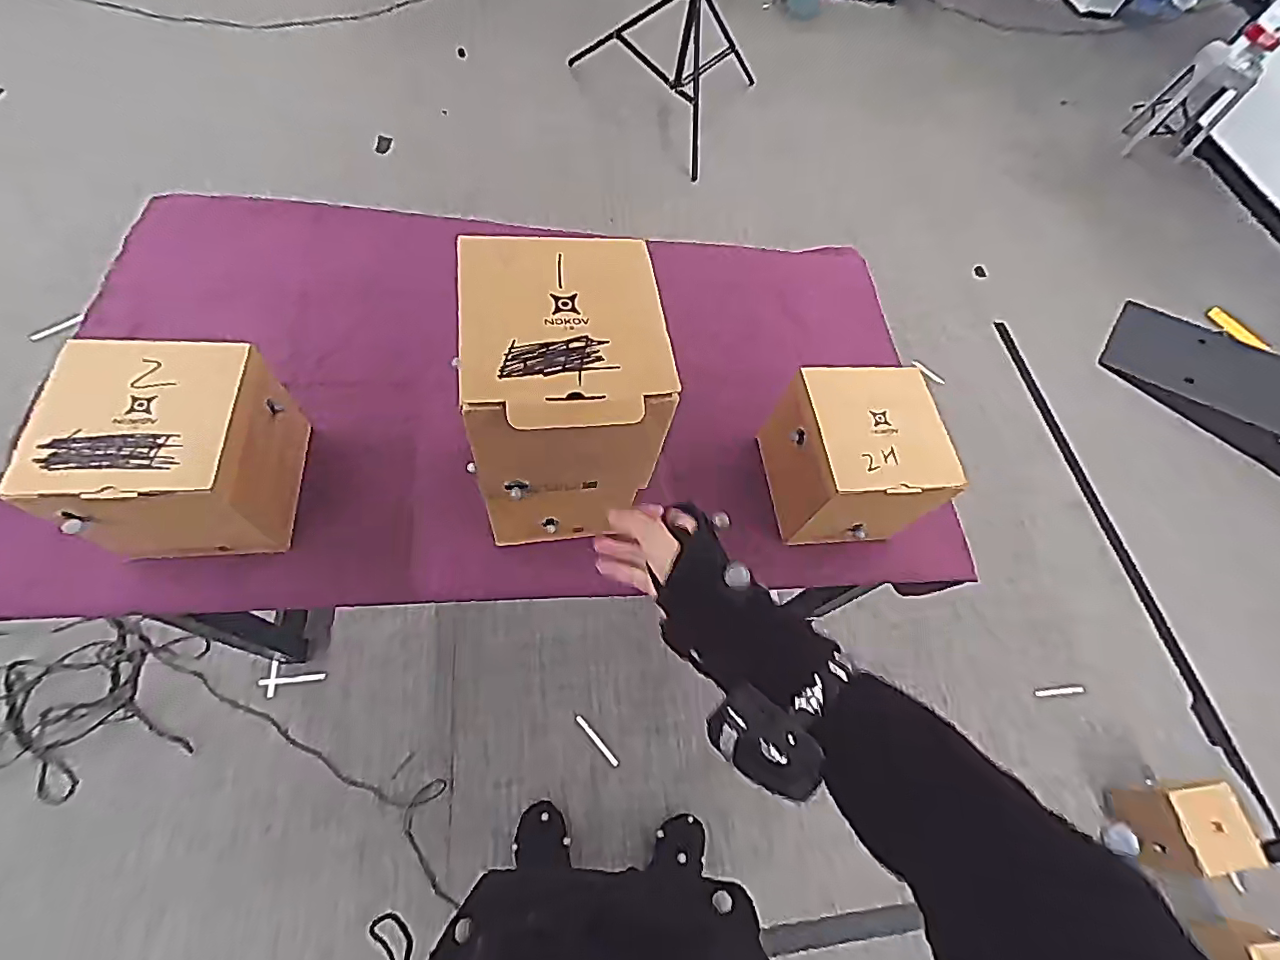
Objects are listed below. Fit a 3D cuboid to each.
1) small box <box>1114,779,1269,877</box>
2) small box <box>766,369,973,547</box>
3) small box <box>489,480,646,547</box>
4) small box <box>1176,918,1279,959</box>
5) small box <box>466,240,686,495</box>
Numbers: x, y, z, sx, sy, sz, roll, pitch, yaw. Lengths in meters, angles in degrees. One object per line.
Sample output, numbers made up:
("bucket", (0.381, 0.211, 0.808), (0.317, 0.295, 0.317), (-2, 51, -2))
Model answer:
("small box", (1.287, 0.816, 1.284), (0.179, 0.176, 0.168), (-2, 65, -12))
("small box", (0.281, -0.026, 0.712), (0.168, 0.176, 0.179), (-2, 63, -9))
("small box", (-0.097, -0.035, 0.656), (0.168, 0.176, 0.179), (-5, 65, -12))
("small box", (1.331, 1.076, 1.159), (0.168, 0.176, 0.179), (2, 64, -8))
("small box", (-0.066, -0.094, 0.505), (0.168, 0.176, 0.179), (-4, 64, -12))
